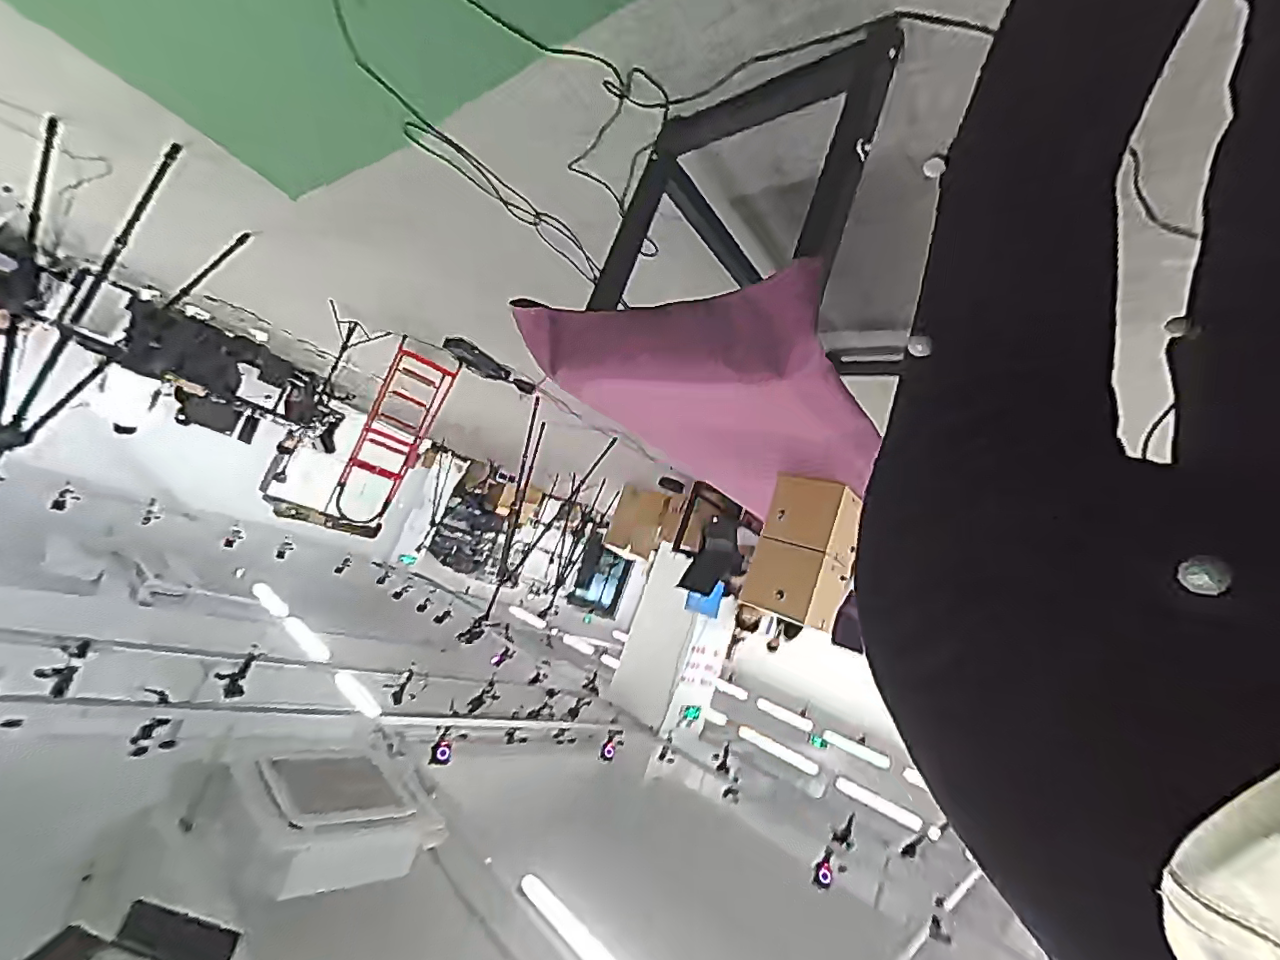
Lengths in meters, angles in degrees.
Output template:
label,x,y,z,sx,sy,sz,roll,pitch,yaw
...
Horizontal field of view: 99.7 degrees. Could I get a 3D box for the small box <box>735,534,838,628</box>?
label,x,y,z,sx,sy,sz,roll,pitch,yaw
small box,0.364,0.241,1.314,0.179,0.176,0.168,13,168,43
